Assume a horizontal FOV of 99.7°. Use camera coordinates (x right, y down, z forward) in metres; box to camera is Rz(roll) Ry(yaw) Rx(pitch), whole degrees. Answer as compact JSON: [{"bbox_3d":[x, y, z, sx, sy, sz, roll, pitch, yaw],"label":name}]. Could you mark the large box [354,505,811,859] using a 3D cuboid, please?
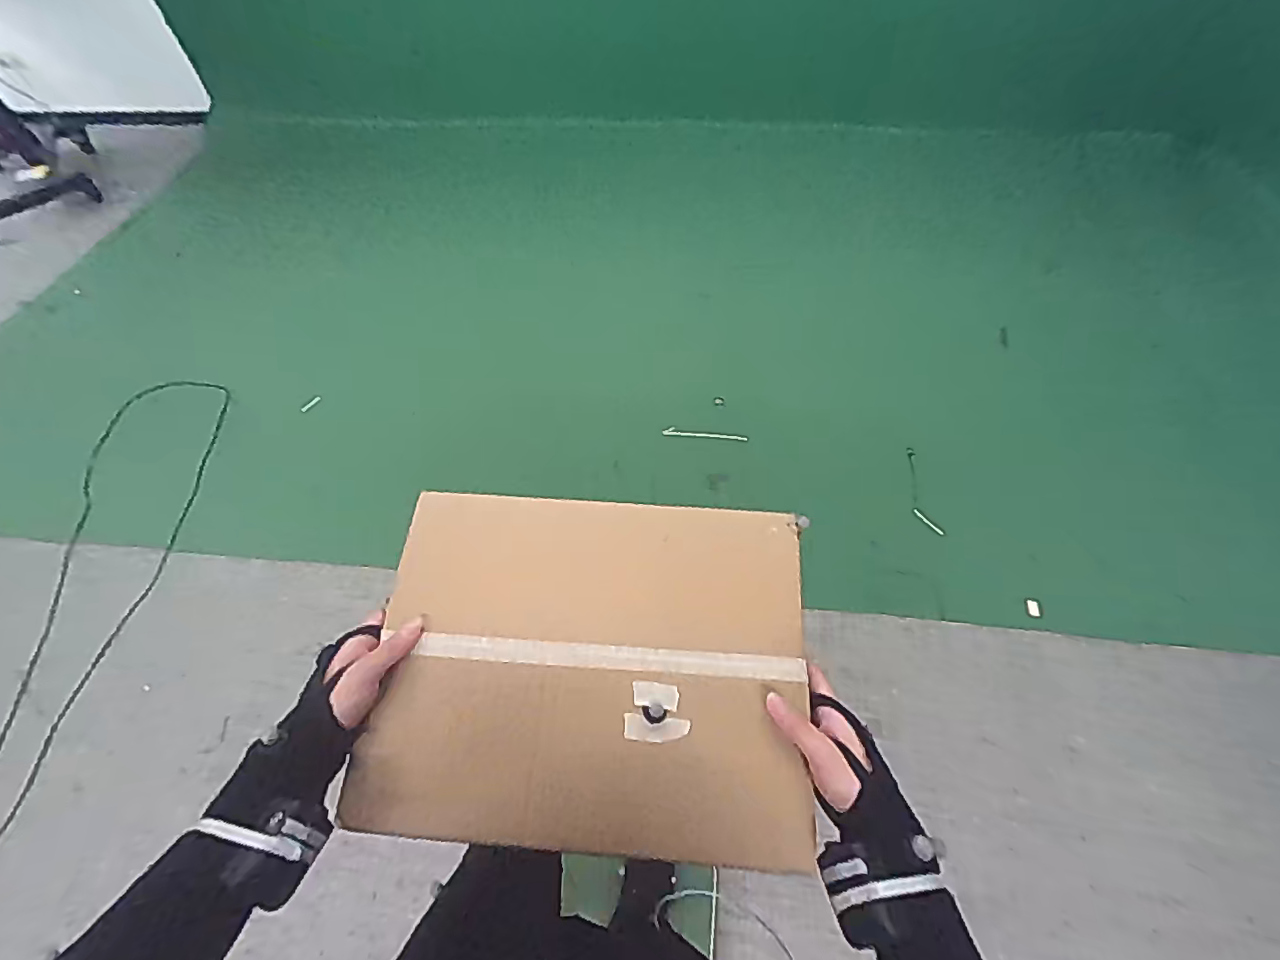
[{"bbox_3d":[-0.045,0.237,0.659,0.408,0.320,0.320,3,66,2],"label":"large box"}]
